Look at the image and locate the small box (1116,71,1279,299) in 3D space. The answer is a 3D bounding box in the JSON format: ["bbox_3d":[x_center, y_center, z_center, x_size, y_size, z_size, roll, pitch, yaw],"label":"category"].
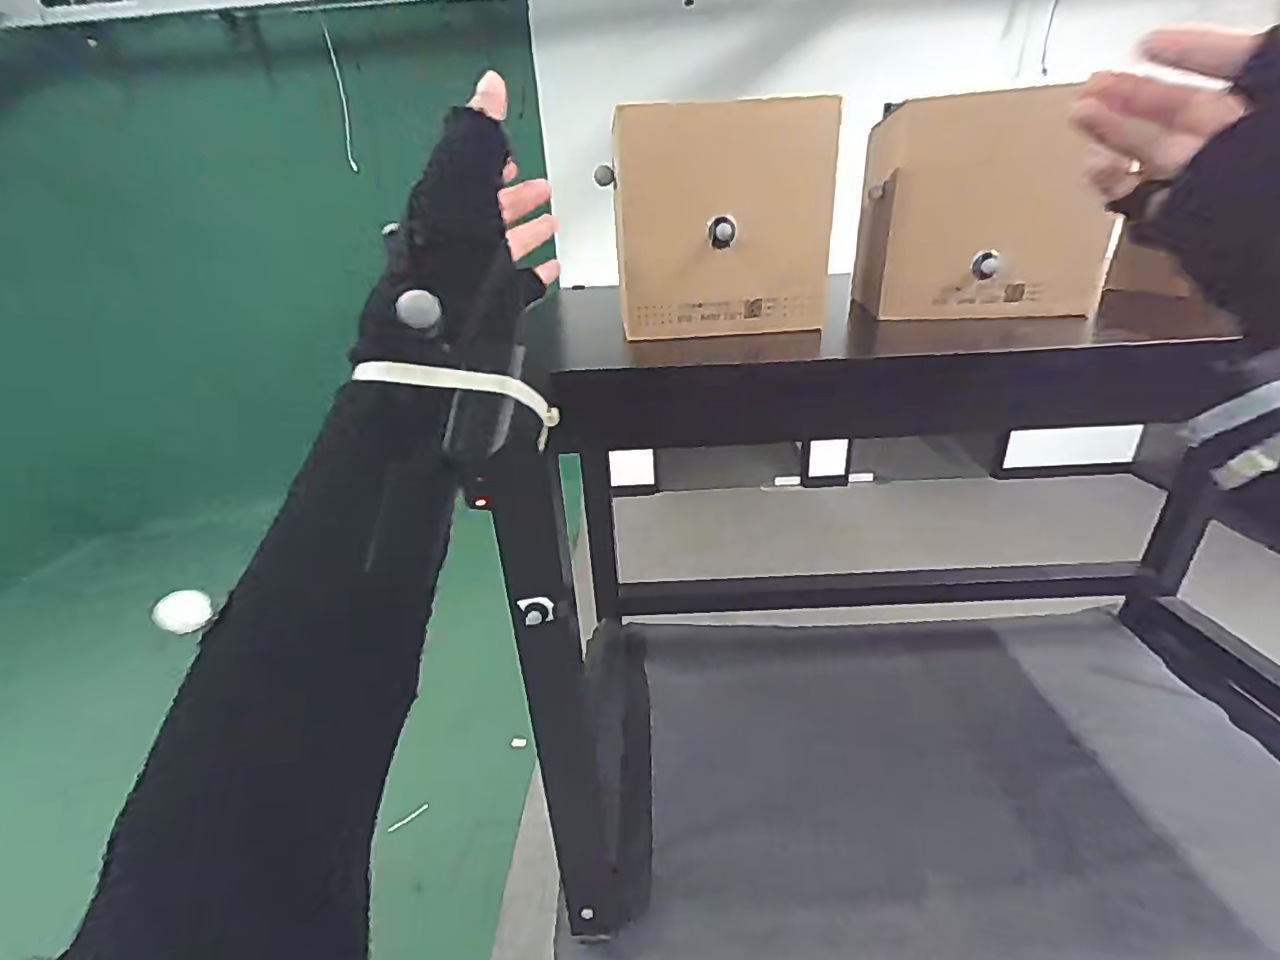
[{"bbox_3d":[0.577,-0.252,0.465,0.168,0.176,0.179,-5,24,-3],"label":"small box"}]

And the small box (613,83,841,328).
[{"bbox_3d":[0.064,-0.233,0.489,0.168,0.176,0.179,-4,24,-2],"label":"small box"}]
